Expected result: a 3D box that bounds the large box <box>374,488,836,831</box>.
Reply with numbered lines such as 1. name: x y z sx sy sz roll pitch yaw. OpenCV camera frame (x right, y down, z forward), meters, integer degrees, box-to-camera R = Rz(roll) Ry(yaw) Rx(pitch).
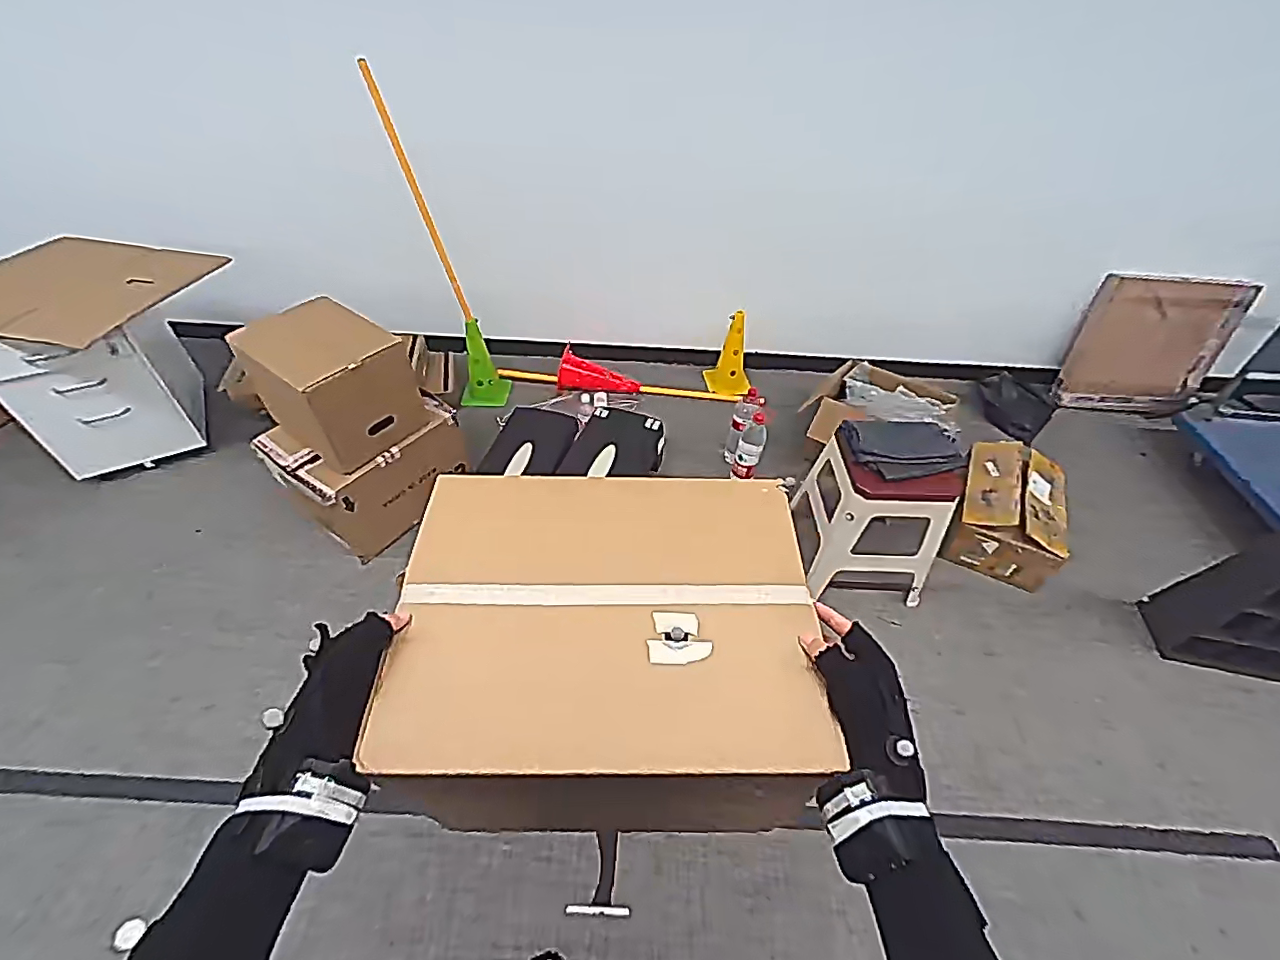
1. large box: -0.036 0.224 0.665 0.408 0.320 0.320 1 50 -2
